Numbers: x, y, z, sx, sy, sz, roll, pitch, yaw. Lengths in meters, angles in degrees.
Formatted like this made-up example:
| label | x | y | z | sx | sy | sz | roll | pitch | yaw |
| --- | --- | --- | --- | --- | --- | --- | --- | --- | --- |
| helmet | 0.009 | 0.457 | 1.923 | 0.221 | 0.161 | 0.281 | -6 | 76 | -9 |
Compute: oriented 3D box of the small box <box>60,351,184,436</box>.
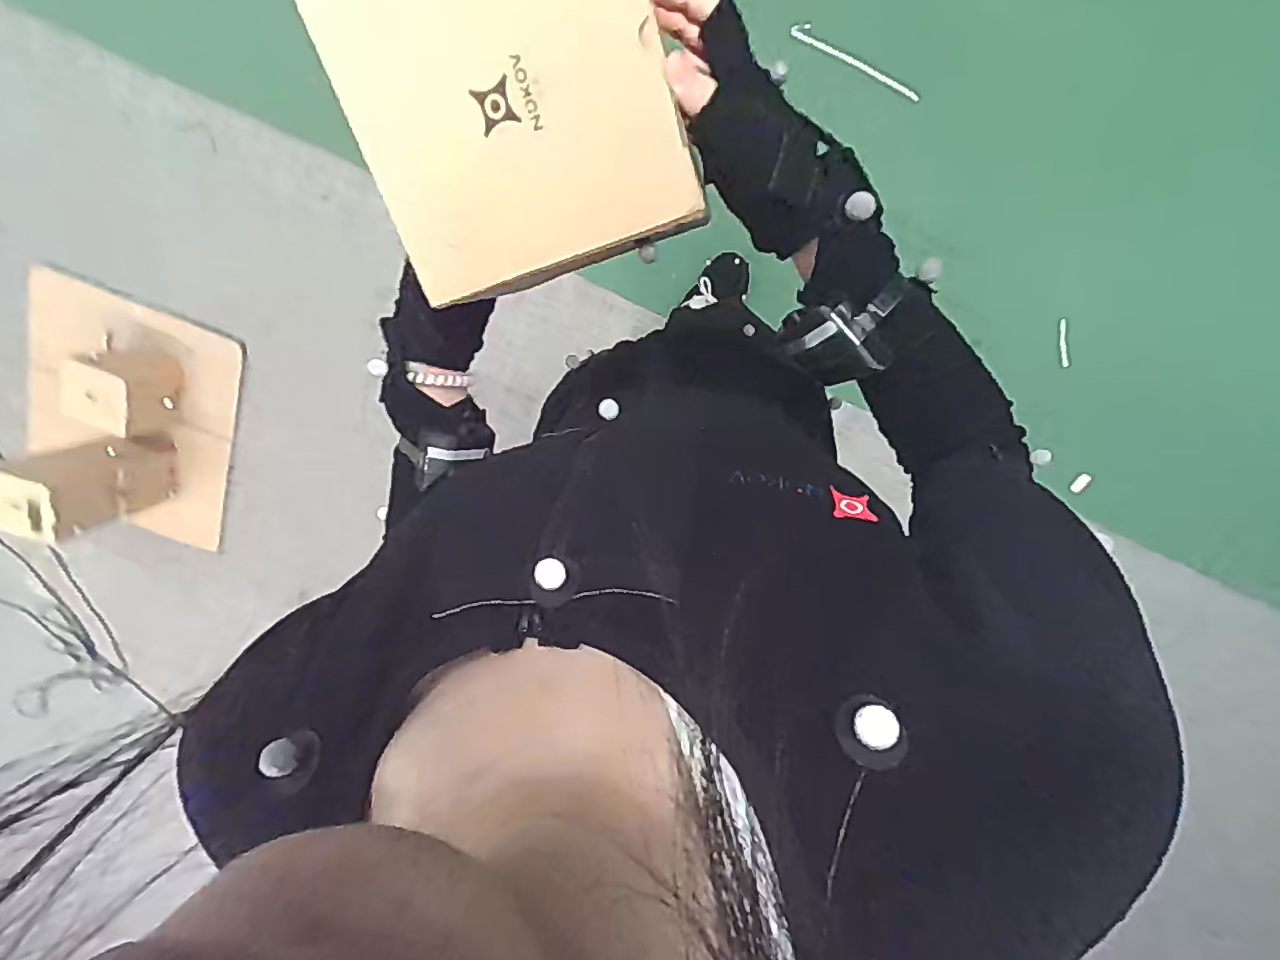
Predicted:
| label | x | y | z | sx | sy | sz | roll | pitch | yaw |
| --- | --- | --- | --- | --- | --- | --- | --- | --- | --- |
| small box | -1.396 | -0.241 | 1.462 | 0.179 | 0.176 | 0.168 | 22 | 110 | -3 |

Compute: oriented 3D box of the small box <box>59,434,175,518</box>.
| label | x | y | z | sx | sy | sz | roll | pitch | yaw |
| --- | --- | --- | --- | --- | --- | --- | --- | --- | --- |
| small box | -1.478 | -0.018 | 1.540 | 0.179 | 0.176 | 0.168 | 18 | 109 | -1 |
